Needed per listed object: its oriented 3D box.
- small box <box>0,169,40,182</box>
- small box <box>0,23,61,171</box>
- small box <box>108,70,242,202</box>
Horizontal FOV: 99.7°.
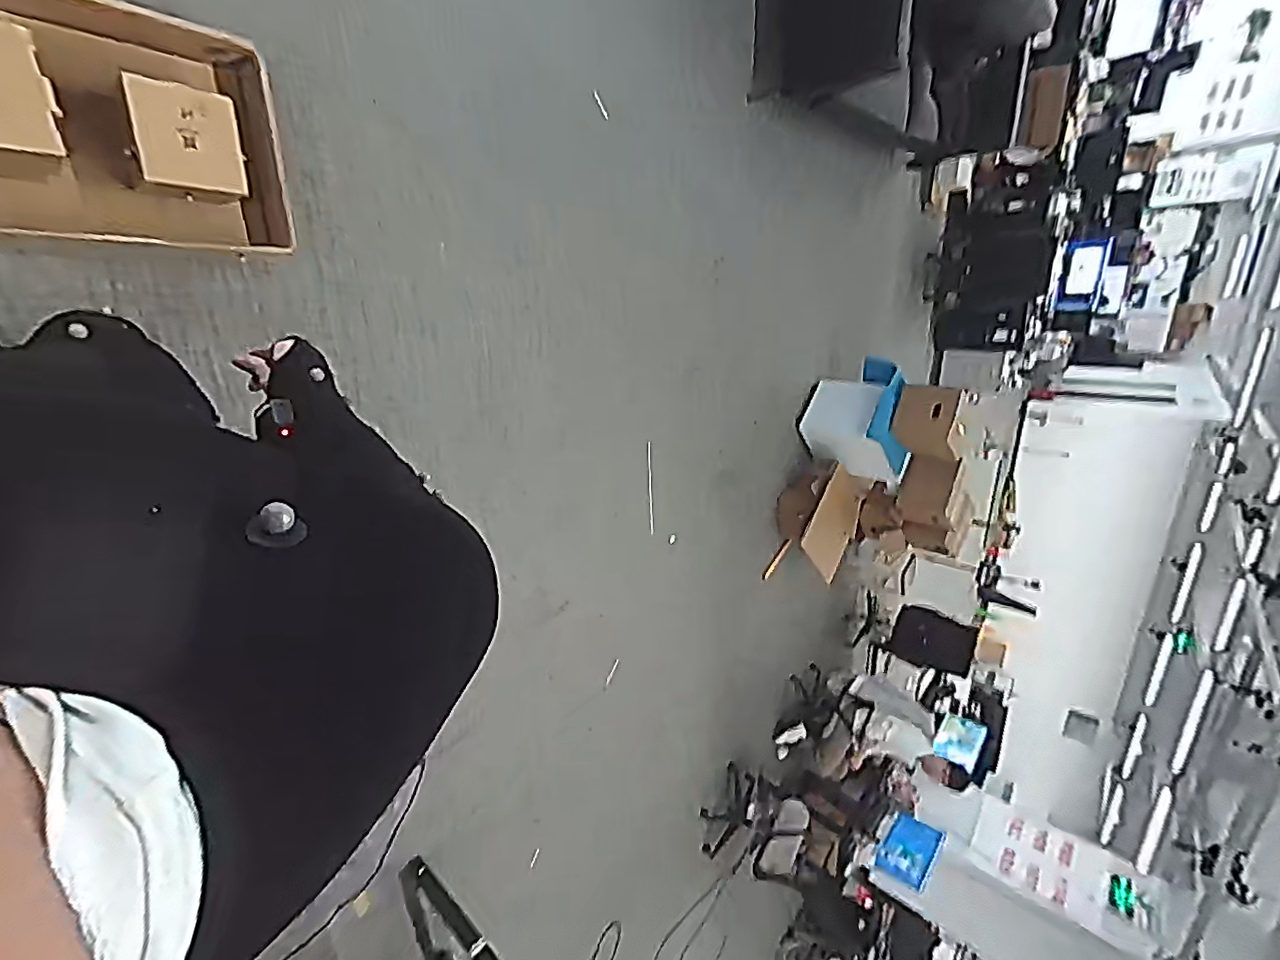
[{"bbox_3d":[-1.118,-0.602,0.879,0.168,0.176,0.179,-19,114,-45],"label":"small box"},{"bbox_3d":[-0.992,-0.561,0.780,0.179,0.176,0.168,-20,115,-46],"label":"small box"},{"bbox_3d":[-0.925,-0.669,1.078,0.168,0.176,0.179,-17,114,-45],"label":"small box"}]
